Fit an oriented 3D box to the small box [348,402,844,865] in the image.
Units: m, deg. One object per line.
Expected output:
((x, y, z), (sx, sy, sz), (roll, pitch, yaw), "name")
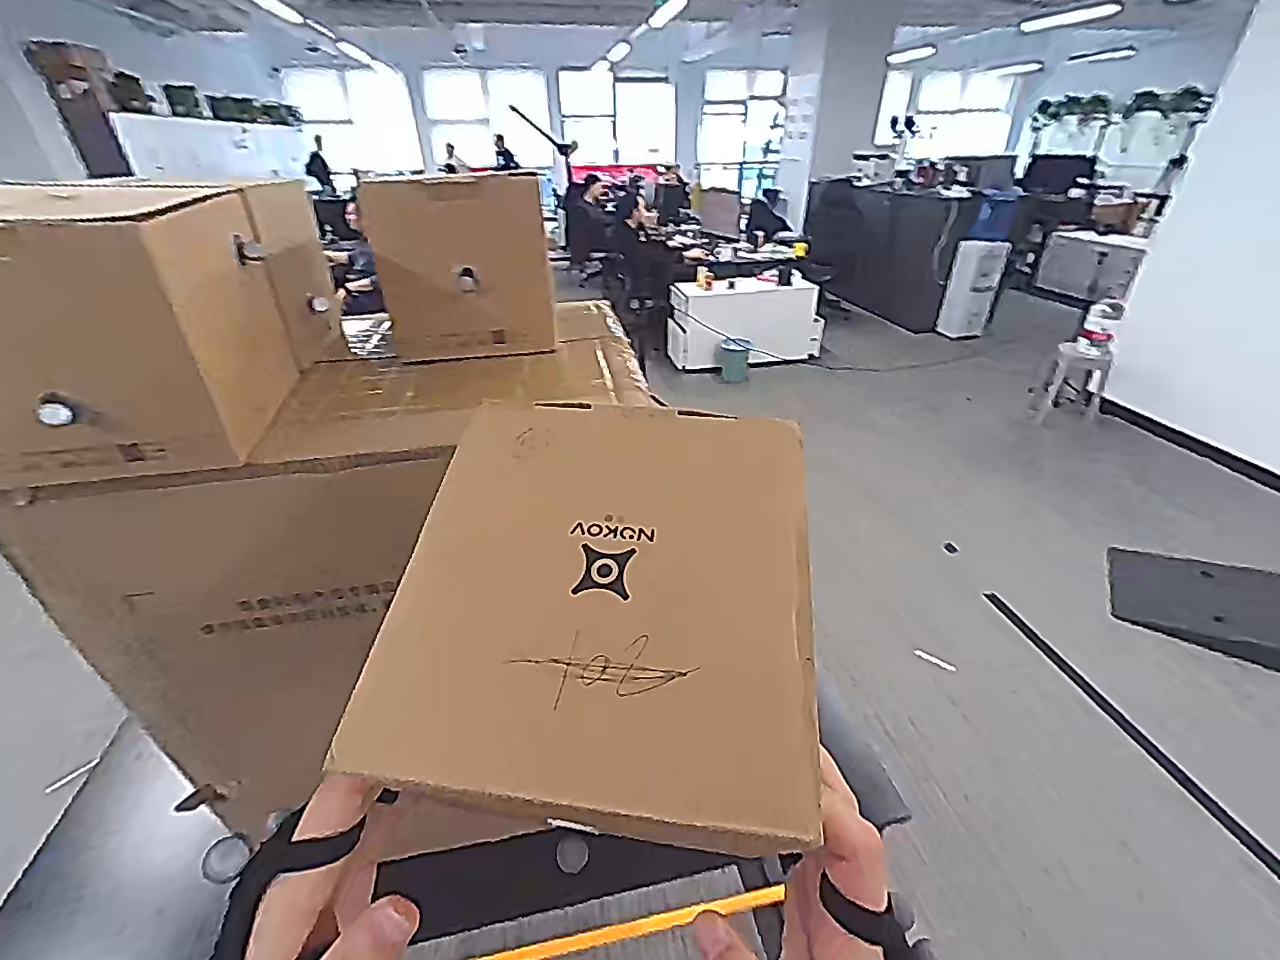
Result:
((-0.005, 0.083, 0.284), (0.168, 0.176, 0.179), (4, 54, 7), "small box")
